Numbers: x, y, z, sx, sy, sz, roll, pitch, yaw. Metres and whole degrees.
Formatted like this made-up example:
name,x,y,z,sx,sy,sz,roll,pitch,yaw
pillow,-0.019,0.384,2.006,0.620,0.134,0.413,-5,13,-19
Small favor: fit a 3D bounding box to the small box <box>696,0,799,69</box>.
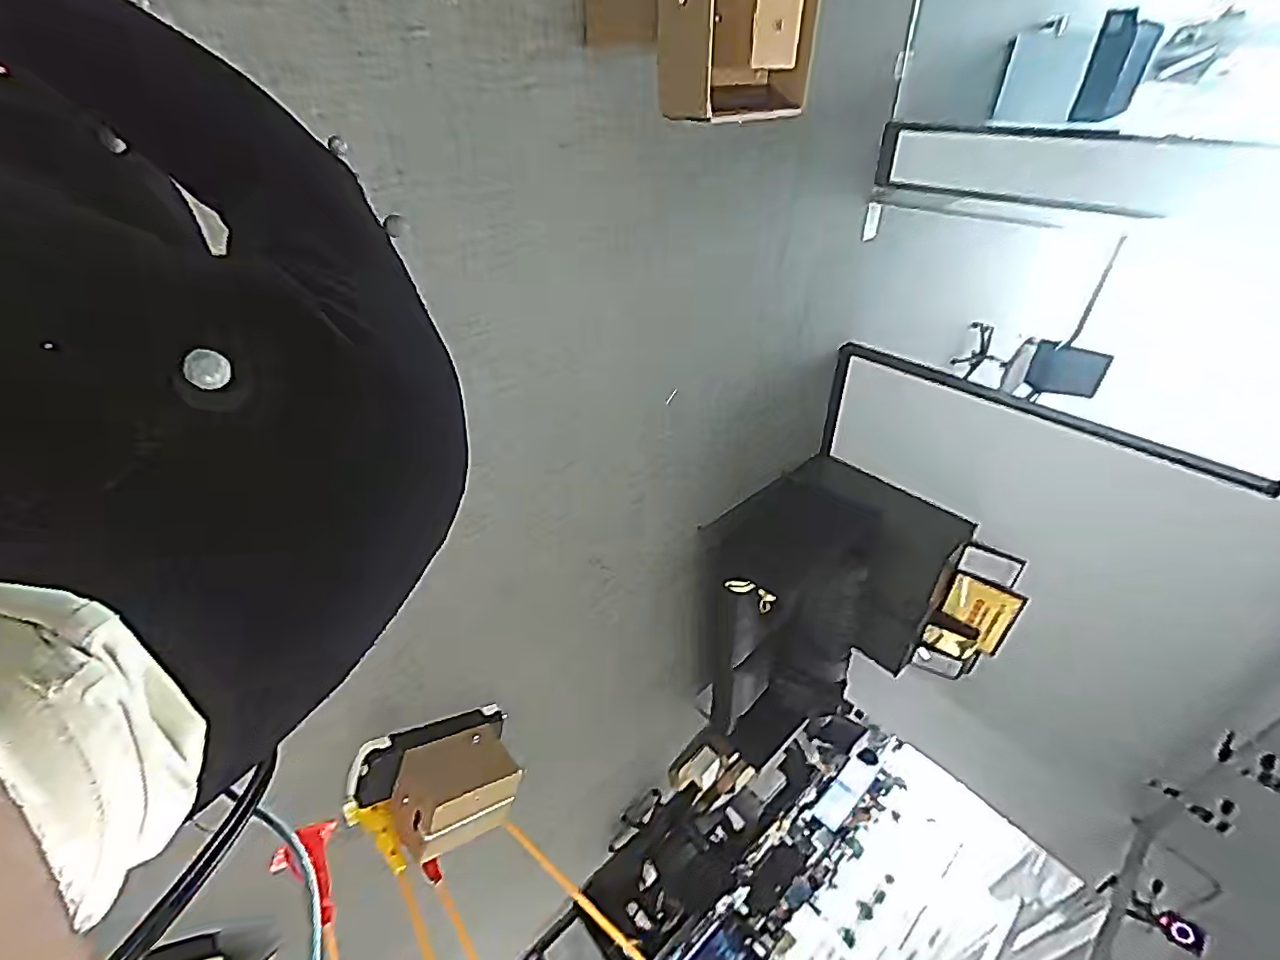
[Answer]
name,x,y,z,sx,sy,sz,roll,pitch,yaw
small box,0.262,-1.115,1.327,0.179,0.176,0.168,-28,136,-31
